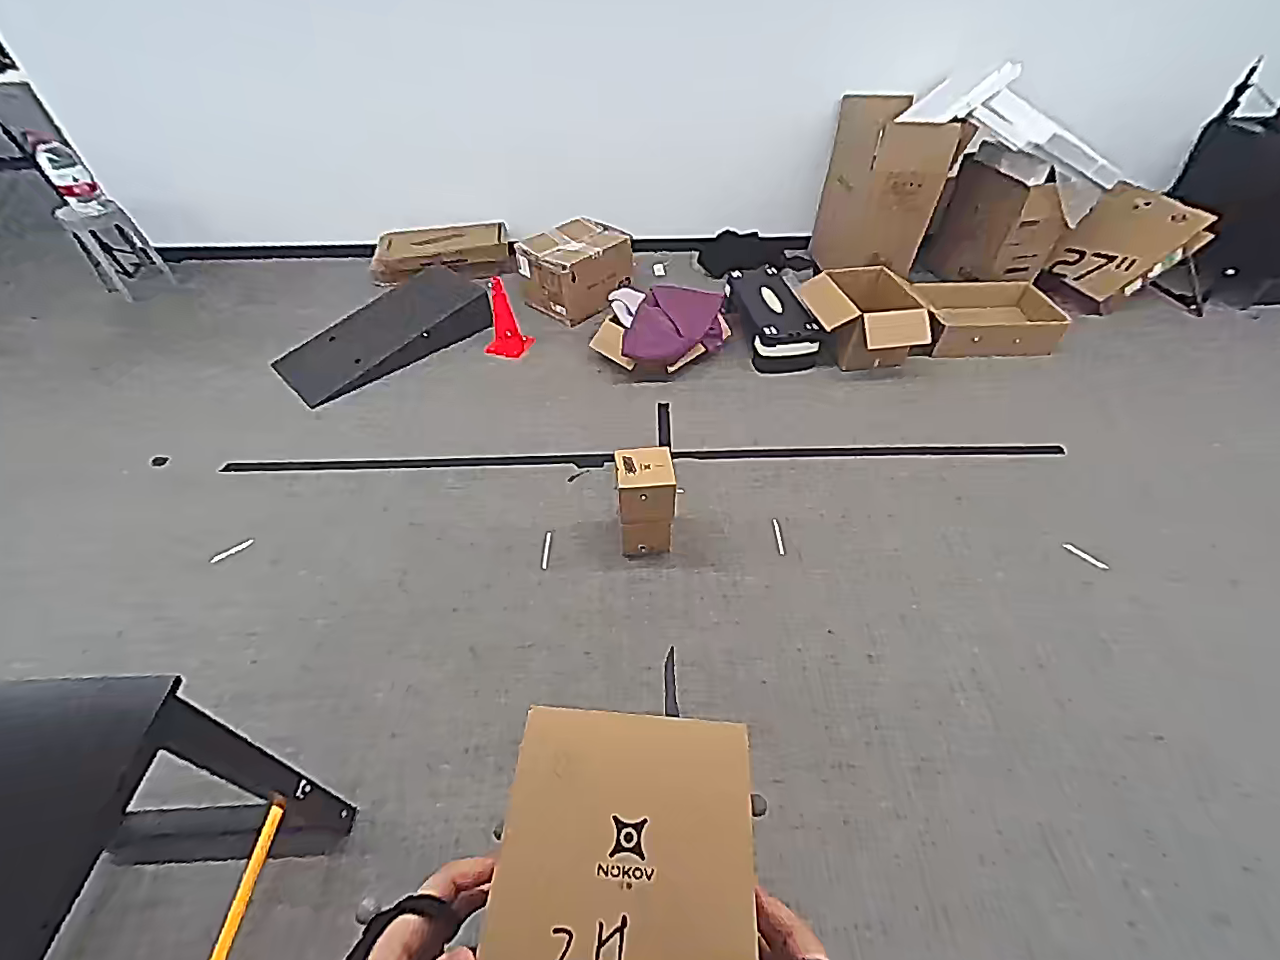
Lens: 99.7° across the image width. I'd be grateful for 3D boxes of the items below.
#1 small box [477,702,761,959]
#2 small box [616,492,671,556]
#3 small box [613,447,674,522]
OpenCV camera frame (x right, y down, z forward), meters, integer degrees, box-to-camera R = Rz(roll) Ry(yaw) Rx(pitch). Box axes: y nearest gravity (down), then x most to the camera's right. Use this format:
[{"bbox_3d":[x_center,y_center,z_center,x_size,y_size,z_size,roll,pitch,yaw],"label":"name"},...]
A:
[{"bbox_3d":[-0.008,0.290,0.405,0.168,0.176,0.179,3,48,4],"label":"small box"},{"bbox_3d":[0.009,0.133,1.827,0.168,0.176,0.179,-7,48,-4],"label":"small box"},{"bbox_3d":[0.012,0.017,1.709,0.179,0.176,0.168,-4,47,-3],"label":"small box"}]
